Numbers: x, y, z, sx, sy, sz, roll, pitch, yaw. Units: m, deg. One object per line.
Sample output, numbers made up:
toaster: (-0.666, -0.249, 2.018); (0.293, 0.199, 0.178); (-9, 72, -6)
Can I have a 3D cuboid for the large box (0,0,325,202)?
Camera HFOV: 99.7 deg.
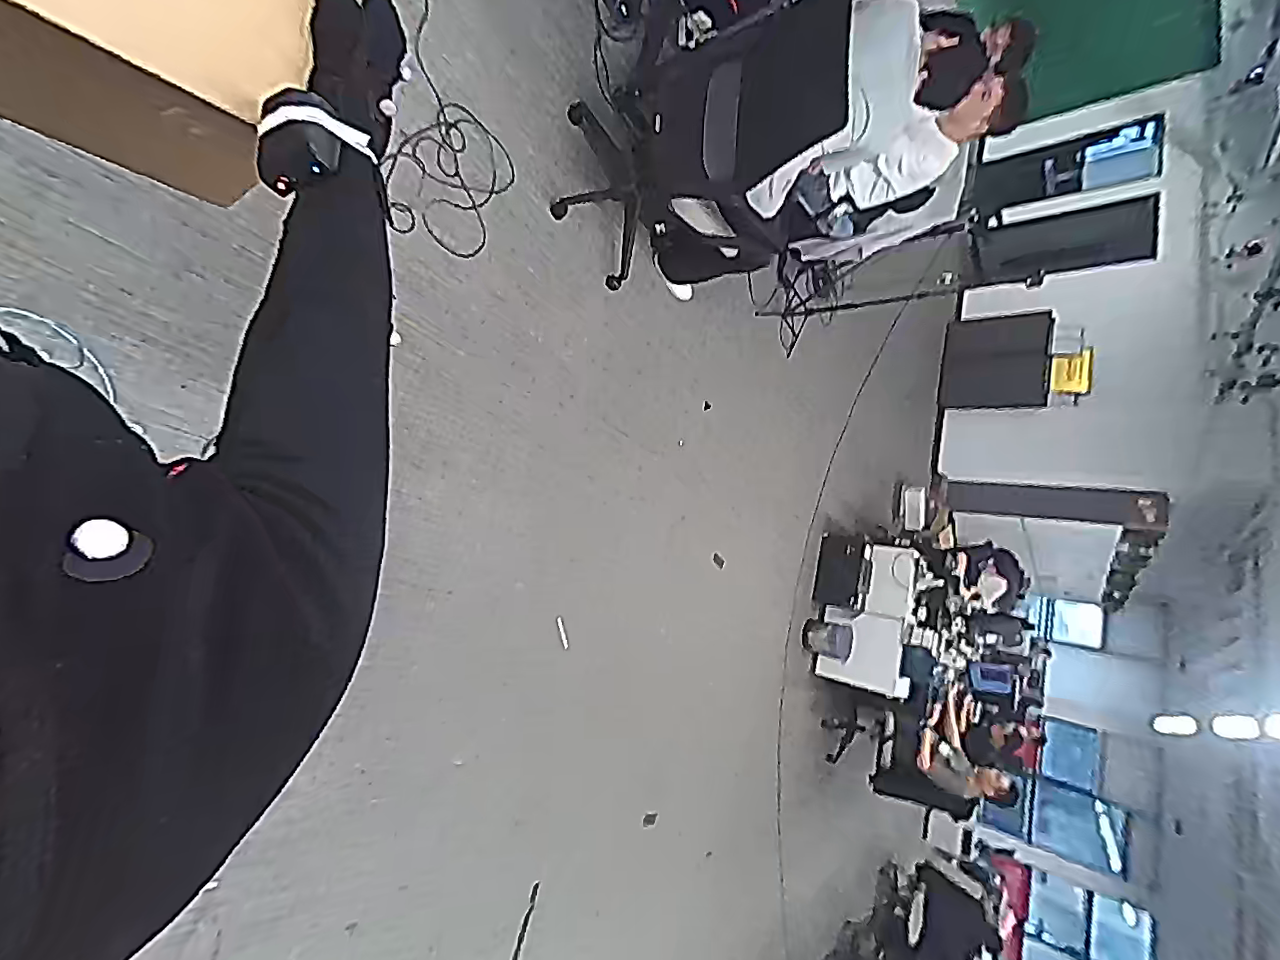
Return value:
large box: (-0.505, -0.480, 0.412); (0.408, 0.320, 0.320); (9, 93, -49)
